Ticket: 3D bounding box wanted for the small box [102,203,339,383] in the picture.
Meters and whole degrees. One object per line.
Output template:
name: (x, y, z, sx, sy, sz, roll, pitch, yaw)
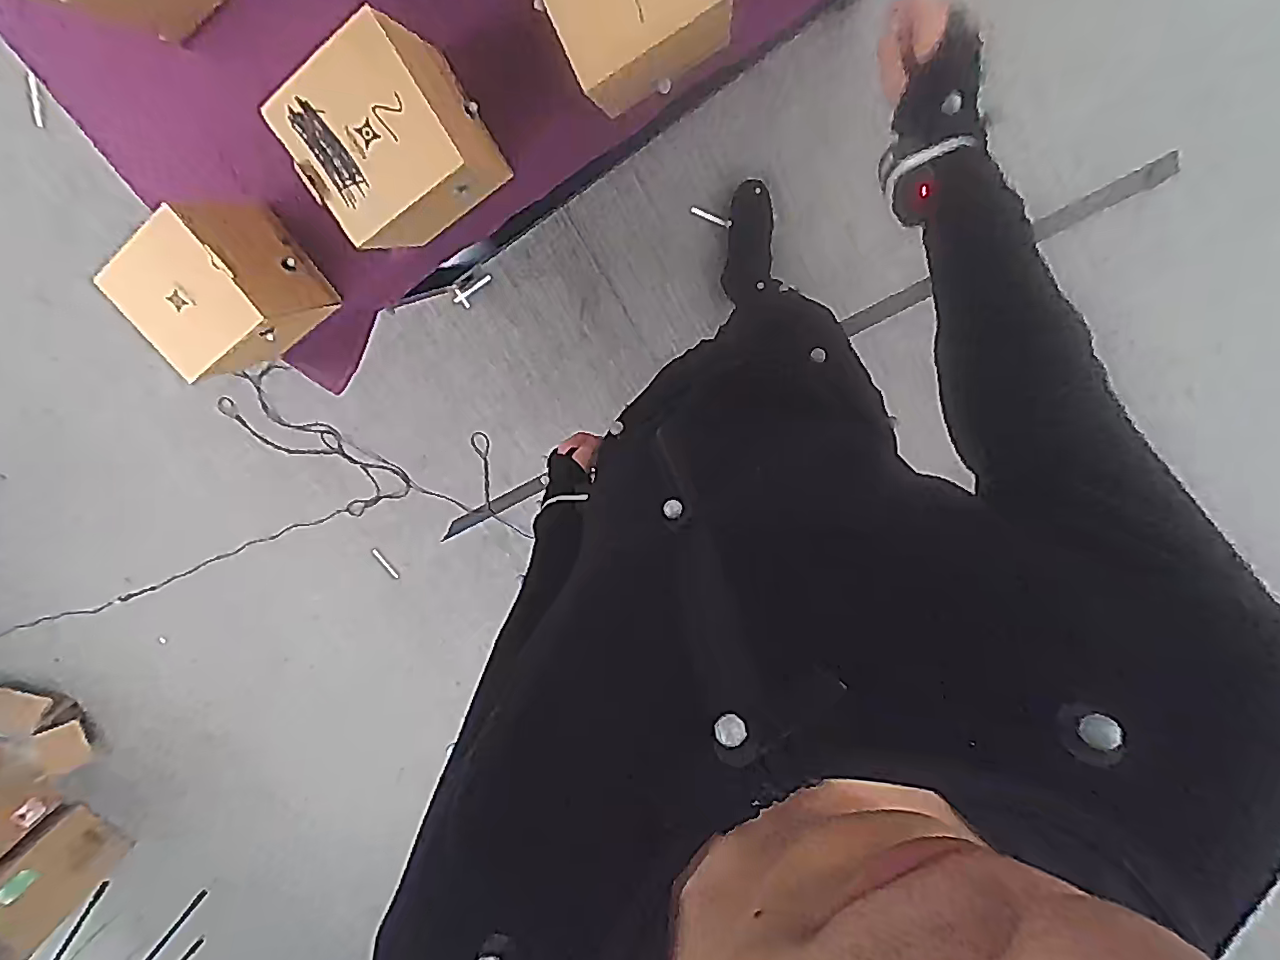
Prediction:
small box: (-0.586, -0.269, 0.780, 0.179, 0.176, 0.168, -29, 108, 18)
